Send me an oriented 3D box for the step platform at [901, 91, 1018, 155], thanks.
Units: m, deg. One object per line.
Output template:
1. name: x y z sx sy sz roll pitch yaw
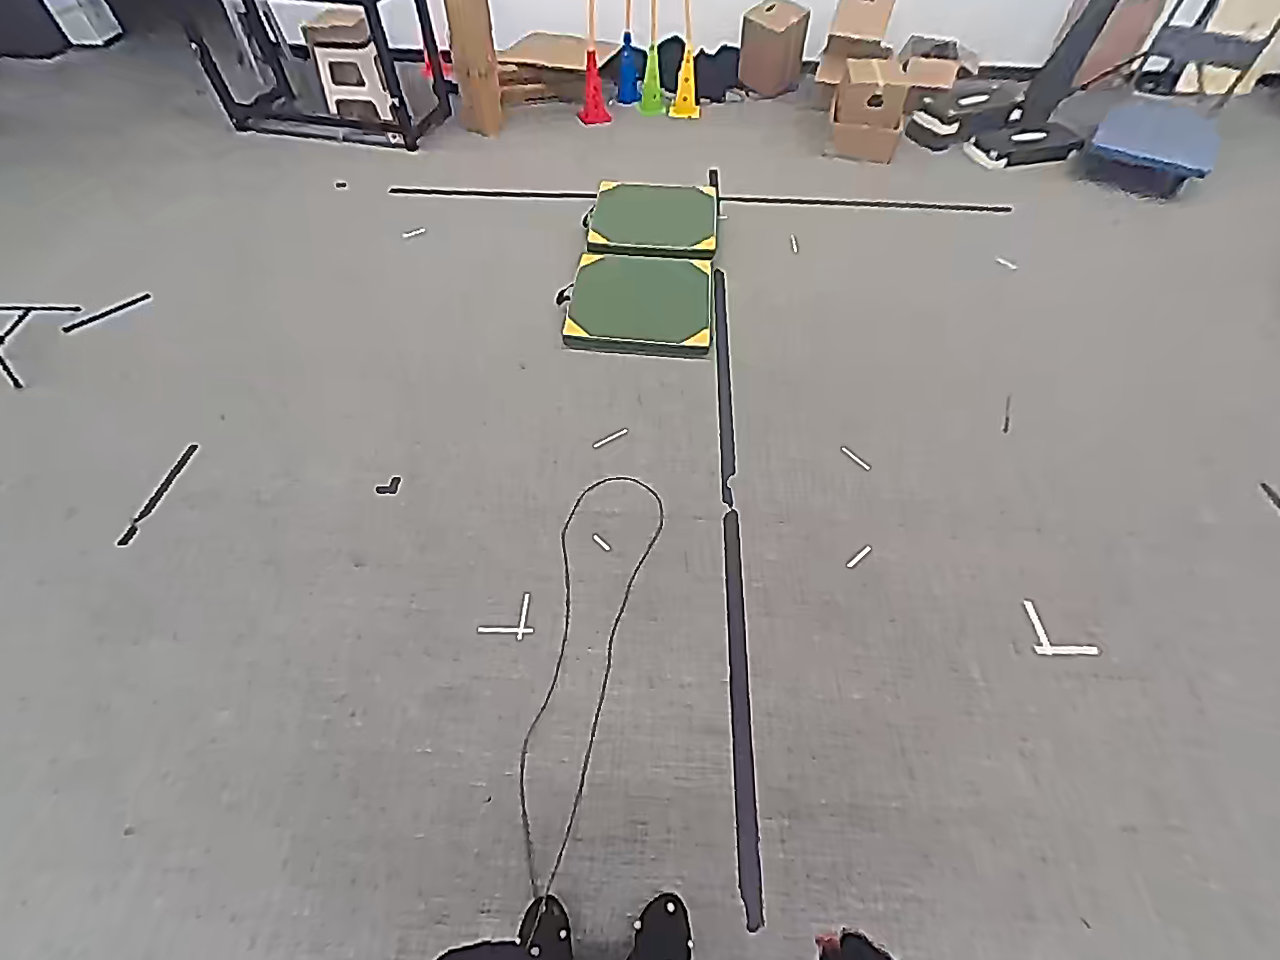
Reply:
1. step platform: 2.015 -2.255 3.403 0.684 0.204 0.286 -21 57 -15
